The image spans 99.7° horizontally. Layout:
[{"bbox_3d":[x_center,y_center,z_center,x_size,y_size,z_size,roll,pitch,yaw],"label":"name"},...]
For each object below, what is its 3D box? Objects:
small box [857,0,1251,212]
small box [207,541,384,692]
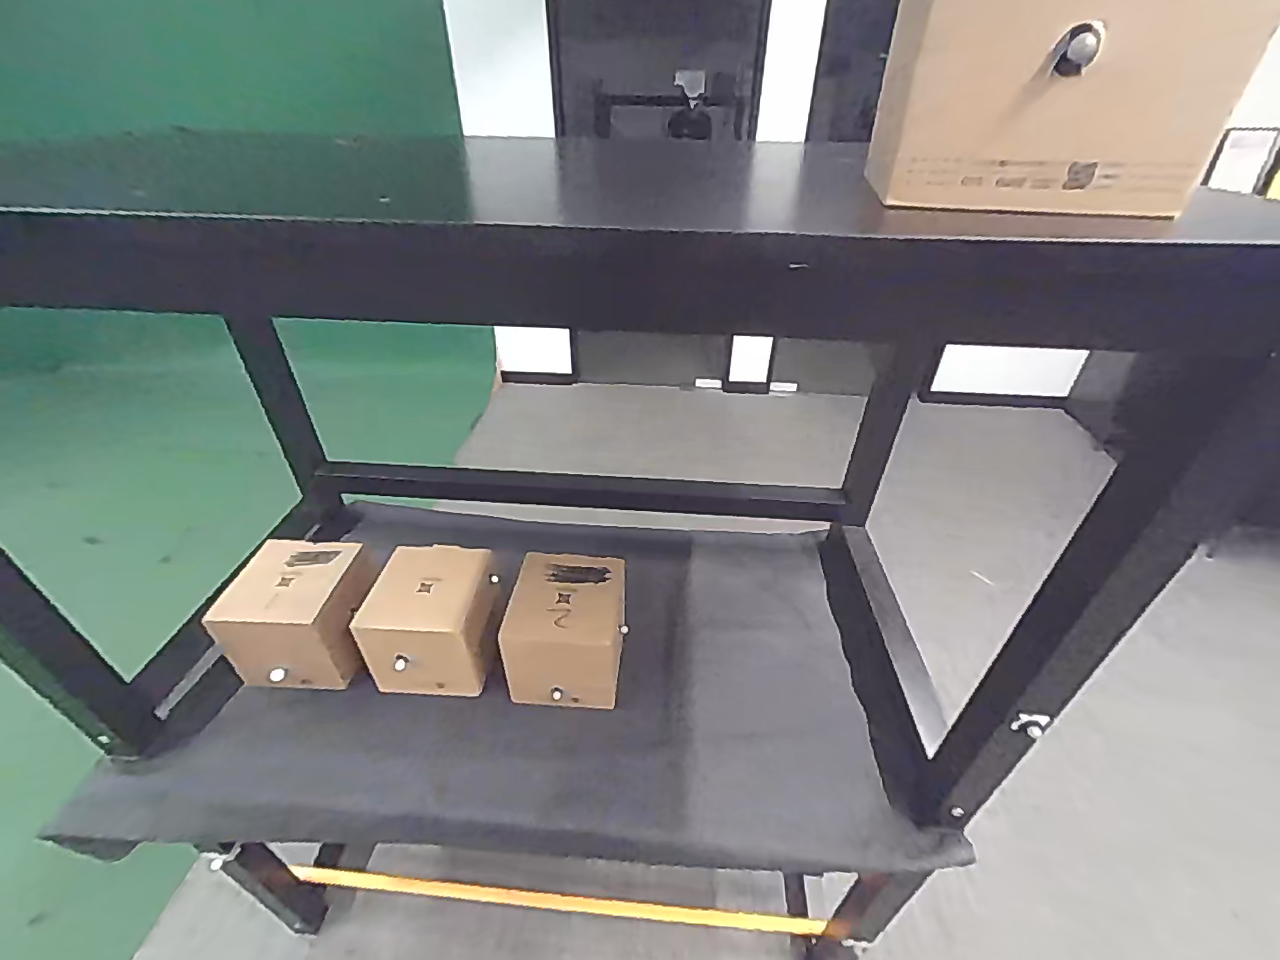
[{"bbox_3d":[0.248,-0.281,0.353,0.168,0.176,0.179,9,36,12],"label":"small box"},{"bbox_3d":[-0.551,0.224,0.900,0.168,0.176,0.179,1,36,1],"label":"small box"}]
